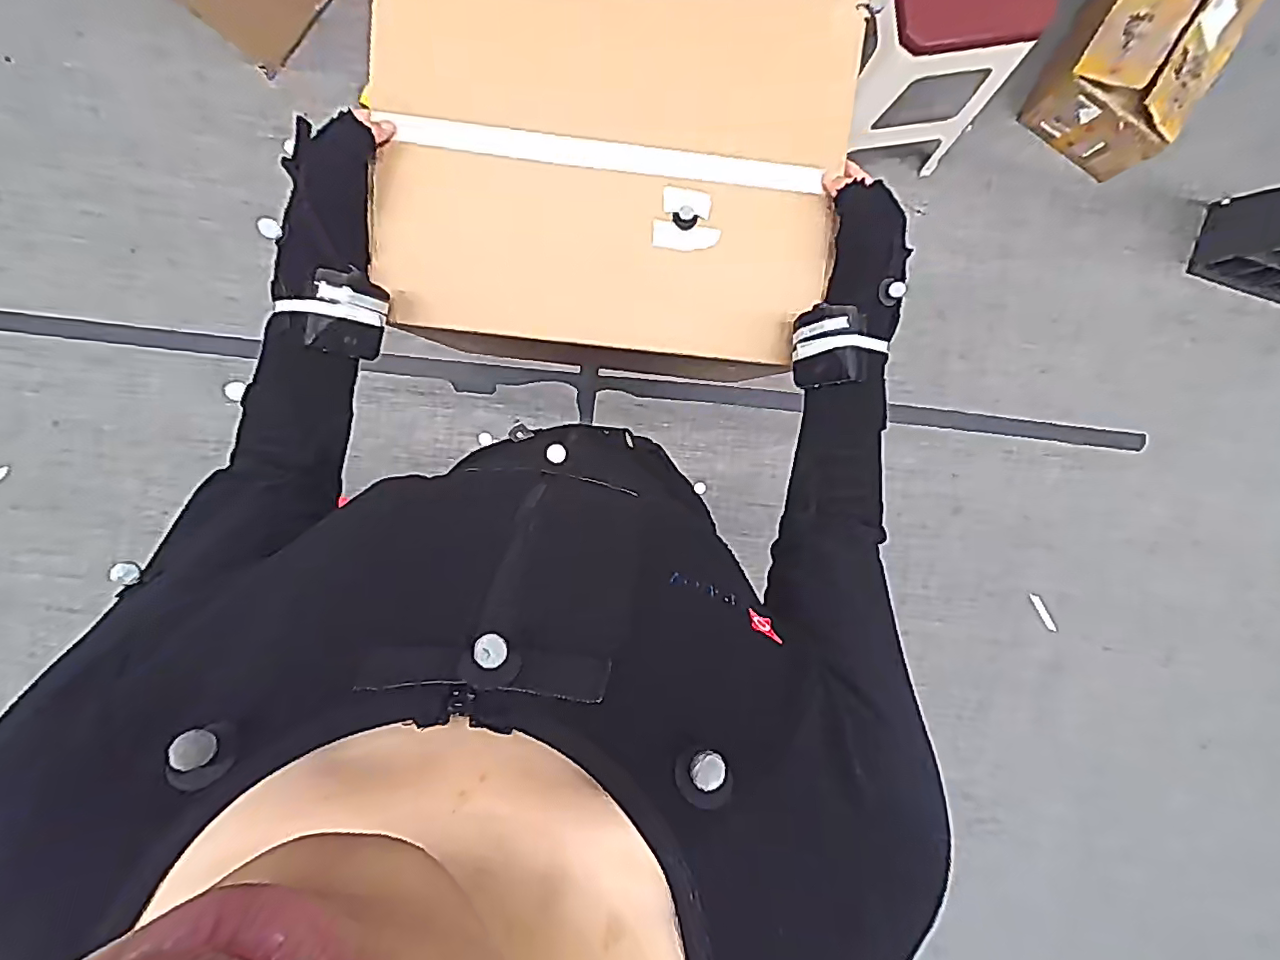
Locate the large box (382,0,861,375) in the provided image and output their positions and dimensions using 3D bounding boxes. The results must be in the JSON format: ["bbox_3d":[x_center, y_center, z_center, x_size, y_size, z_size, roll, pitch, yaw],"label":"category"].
[{"bbox_3d":[-0.029,-0.300,0.616,0.408,0.320,0.320,5,98,-5],"label":"large box"}]
